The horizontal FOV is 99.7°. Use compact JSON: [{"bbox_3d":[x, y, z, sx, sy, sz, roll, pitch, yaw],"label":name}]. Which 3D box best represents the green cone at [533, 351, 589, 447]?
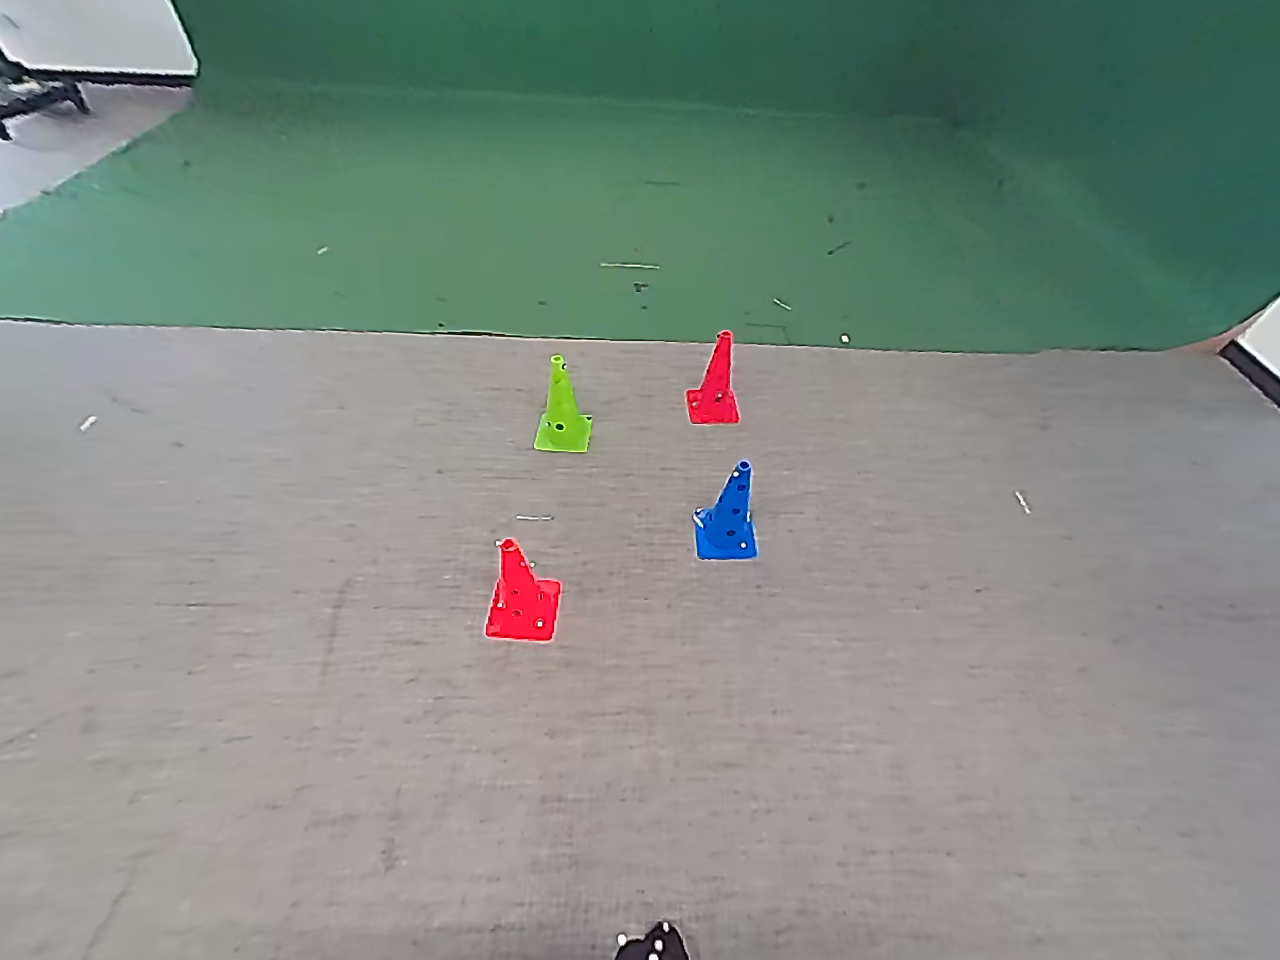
[{"bbox_3d":[-0.295,-0.312,1.939,0.200,0.368,0.202,3,52,0],"label":"green cone"}]

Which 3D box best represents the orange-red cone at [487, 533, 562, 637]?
[{"bbox_3d":[-0.333,0.258,1.482,0.198,0.360,0.199,5,50,0],"label":"orange-red cone"}]
